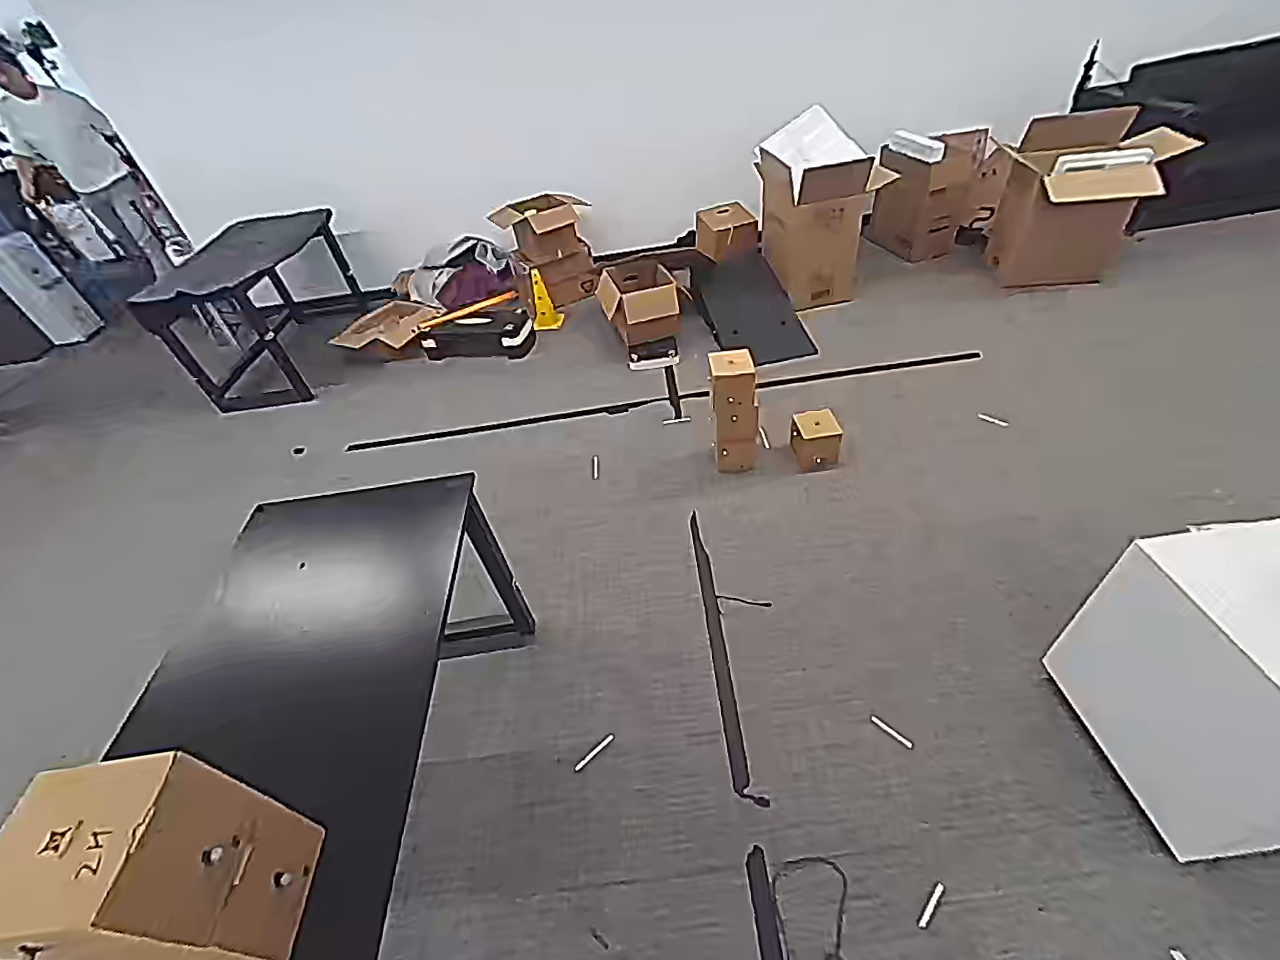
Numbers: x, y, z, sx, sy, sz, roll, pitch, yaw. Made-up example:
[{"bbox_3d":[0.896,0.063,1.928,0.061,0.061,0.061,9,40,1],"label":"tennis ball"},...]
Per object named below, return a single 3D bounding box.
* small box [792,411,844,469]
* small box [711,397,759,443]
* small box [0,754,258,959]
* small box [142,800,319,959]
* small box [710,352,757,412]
[{"bbox_3d":[0.770,-0.173,2.359,0.168,0.176,0.179,-10,44,2],"label":"small box"},{"bbox_3d":[0.400,-0.273,2.285,0.179,0.176,0.168,-7,43,1],"label":"small box"},{"bbox_3d":[-0.606,0.446,0.630,0.179,0.176,0.168,-9,43,1],"label":"small box"},{"bbox_3d":[-0.584,0.565,0.742,0.179,0.176,0.168,-9,42,0],"label":"small box"},{"bbox_3d":[0.371,-0.394,2.181,0.168,0.176,0.179,-6,43,3],"label":"small box"}]
